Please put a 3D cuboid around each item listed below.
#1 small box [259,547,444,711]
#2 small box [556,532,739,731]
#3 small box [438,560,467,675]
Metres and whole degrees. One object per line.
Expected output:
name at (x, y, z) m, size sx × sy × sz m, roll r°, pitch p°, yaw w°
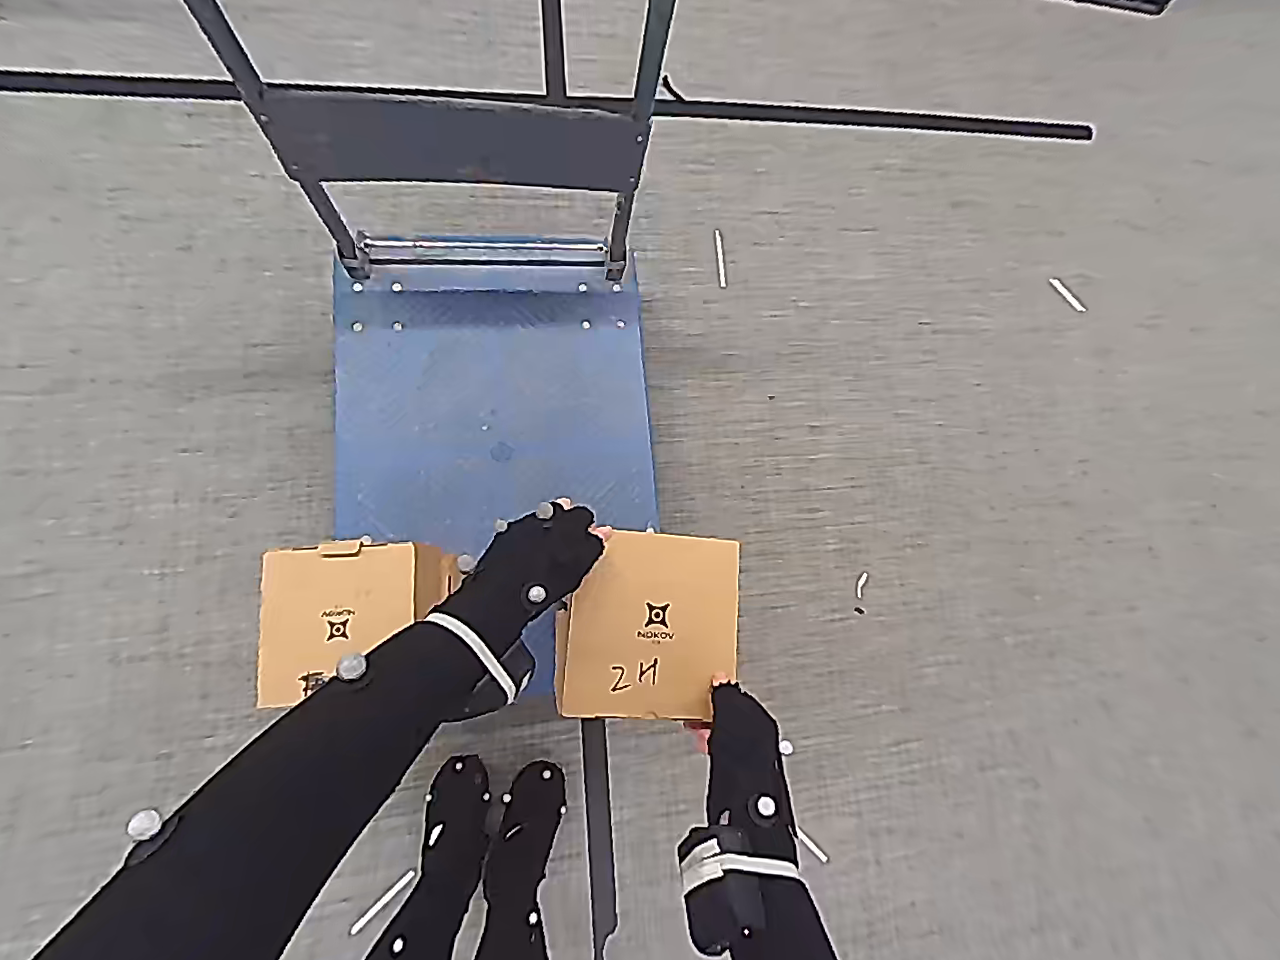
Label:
small box at (-0.354, 0.182, 0.696) m, size 0.168 × 0.176 × 0.179 m, roll -1°, pitch 80°, yaw -10°
small box at (0.000, 0.159, 0.593) m, size 0.168 × 0.176 × 0.179 m, roll 7°, pitch 78°, yaw -9°
small box at (-0.377, 0.210, 0.857) m, size 0.179 × 0.176 × 0.168 m, roll 1°, pitch 80°, yaw -9°
